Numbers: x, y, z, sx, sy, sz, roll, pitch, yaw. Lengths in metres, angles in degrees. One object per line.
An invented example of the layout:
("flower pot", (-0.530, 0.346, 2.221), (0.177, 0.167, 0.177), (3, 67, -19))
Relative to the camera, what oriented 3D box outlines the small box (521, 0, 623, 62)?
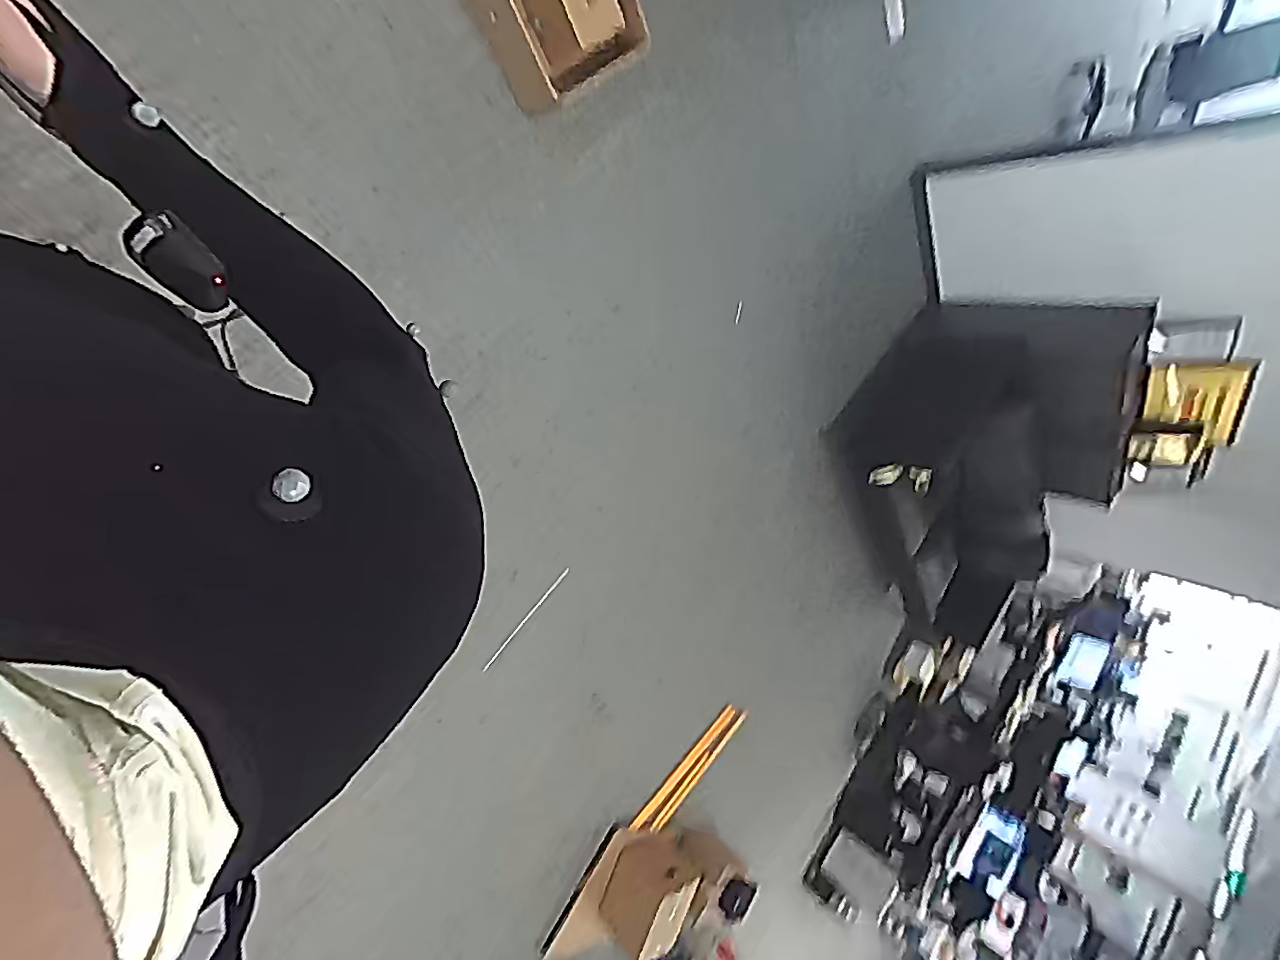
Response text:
("small box", (-0.185, -1.269, 1.448), (0.179, 0.176, 0.168), (-46, 129, -19))
